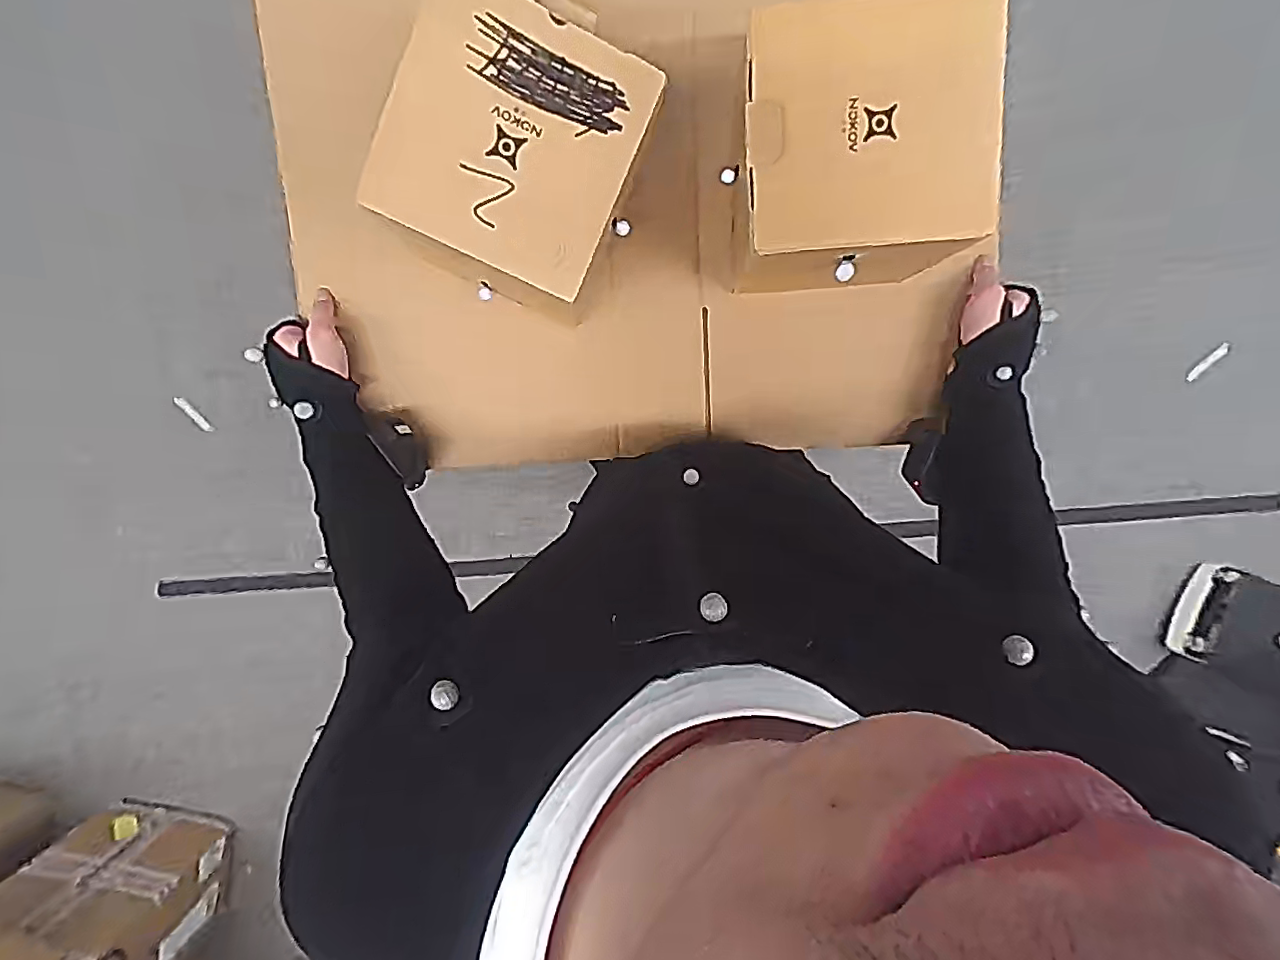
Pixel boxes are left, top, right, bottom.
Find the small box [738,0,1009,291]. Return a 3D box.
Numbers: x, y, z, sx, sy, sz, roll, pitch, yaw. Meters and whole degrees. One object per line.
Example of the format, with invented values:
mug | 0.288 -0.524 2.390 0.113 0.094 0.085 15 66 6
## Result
small box | 0.184 -0.270 0.479 0.179 0.176 0.168 -2 99 6
